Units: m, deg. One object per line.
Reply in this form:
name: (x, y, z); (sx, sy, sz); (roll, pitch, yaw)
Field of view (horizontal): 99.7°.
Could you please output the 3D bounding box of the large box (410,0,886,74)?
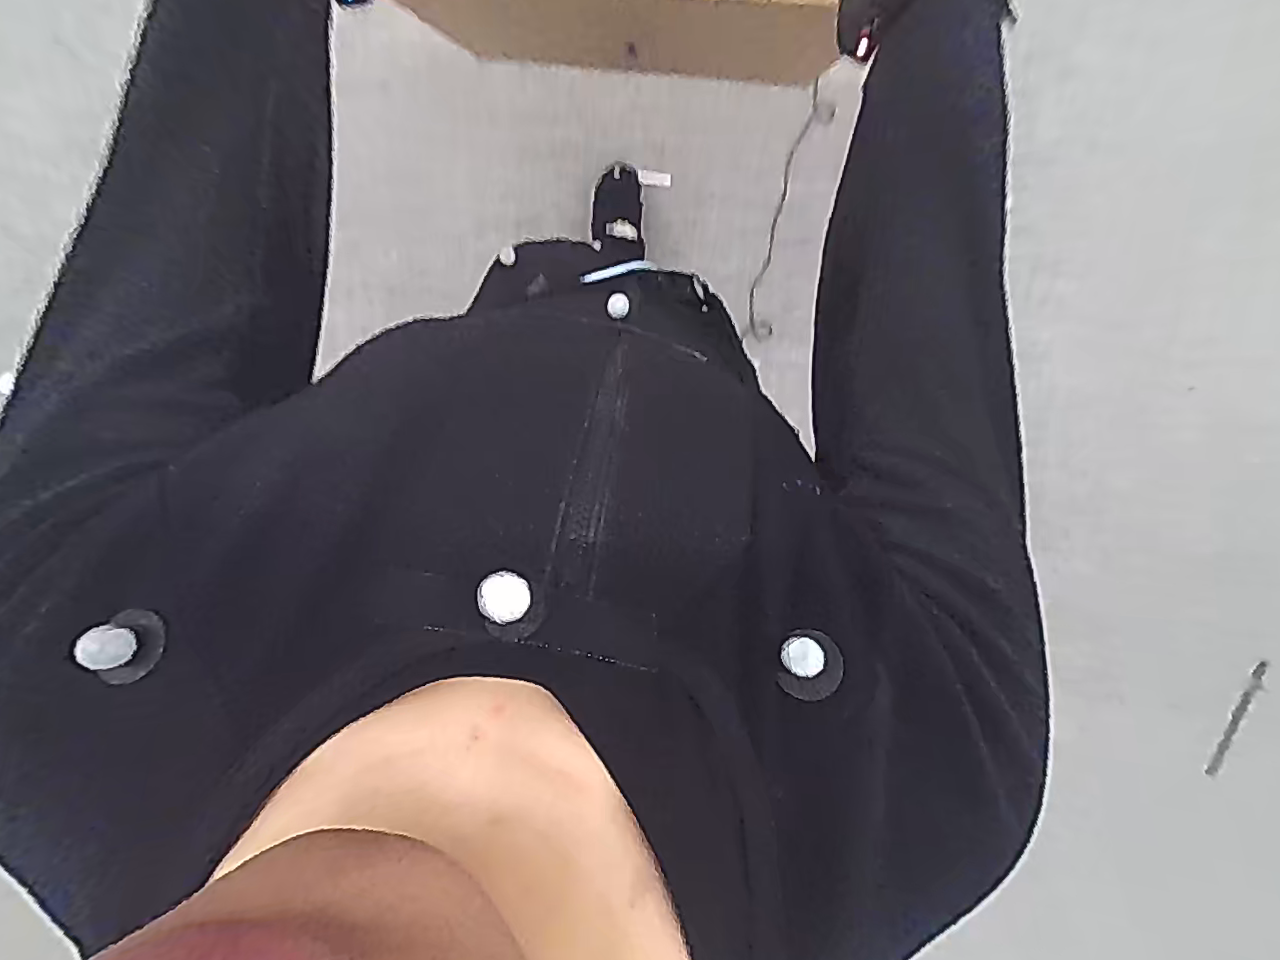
large box: (0.009, -0.566, 0.455); (0.408, 0.320, 0.320); (6, 117, 2)
